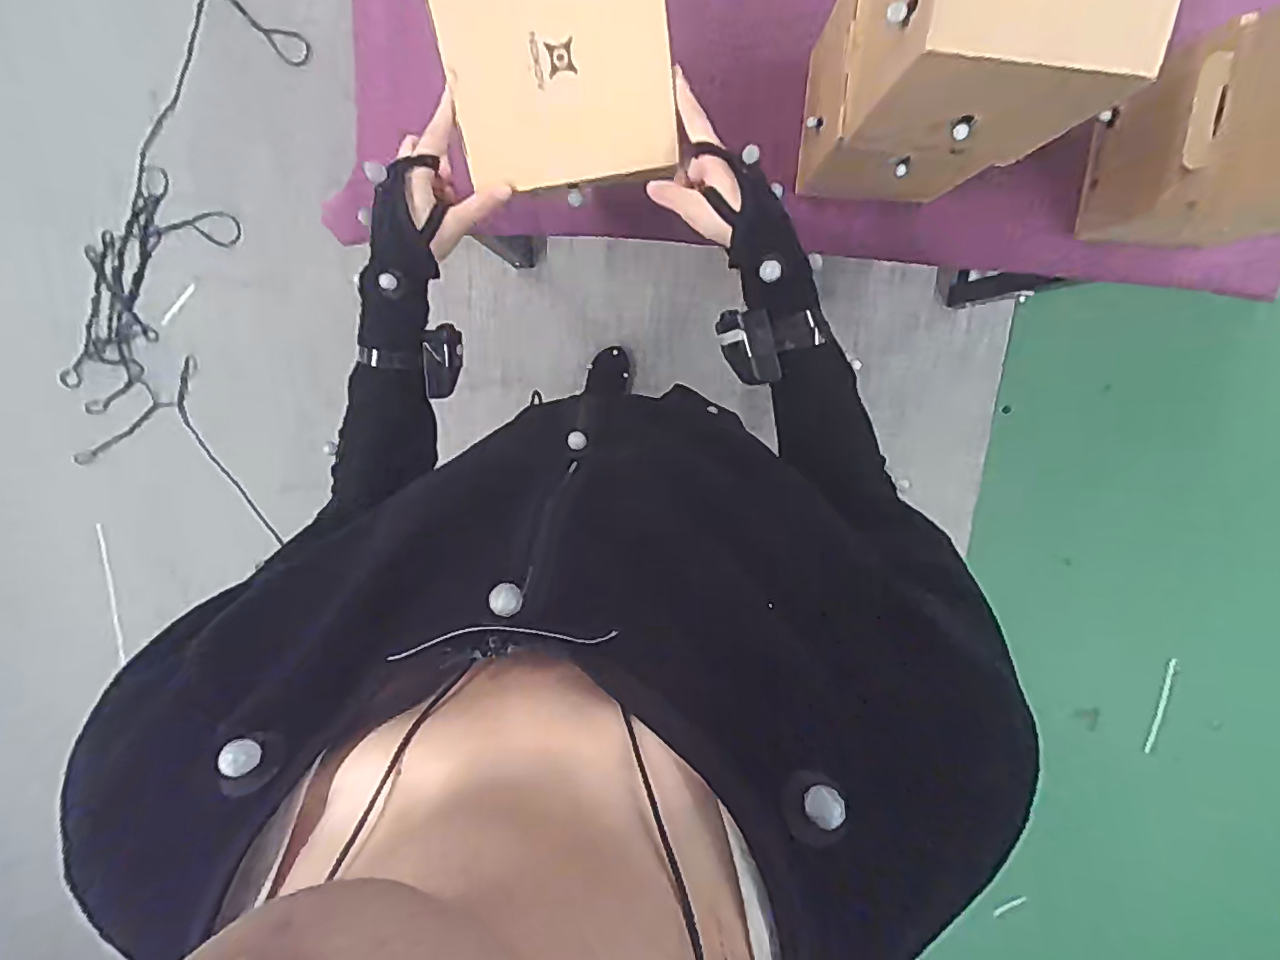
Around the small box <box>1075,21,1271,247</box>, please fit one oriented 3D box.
[{"bbox_3d":[0.644,-0.367,0.606,0.179,0.176,0.168,2,102,1],"label":"small box"}]

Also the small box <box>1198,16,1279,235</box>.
[{"bbox_3d":[0.636,-0.318,0.448,0.168,0.176,0.179,5,101,1],"label":"small box"}]

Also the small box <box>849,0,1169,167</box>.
[{"bbox_3d":[0.290,-0.386,0.446,0.168,0.176,0.179,7,101,0],"label":"small box"}]

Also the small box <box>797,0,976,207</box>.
[{"bbox_3d":[0.288,-0.422,0.606,0.179,0.176,0.168,5,101,0],"label":"small box"}]
